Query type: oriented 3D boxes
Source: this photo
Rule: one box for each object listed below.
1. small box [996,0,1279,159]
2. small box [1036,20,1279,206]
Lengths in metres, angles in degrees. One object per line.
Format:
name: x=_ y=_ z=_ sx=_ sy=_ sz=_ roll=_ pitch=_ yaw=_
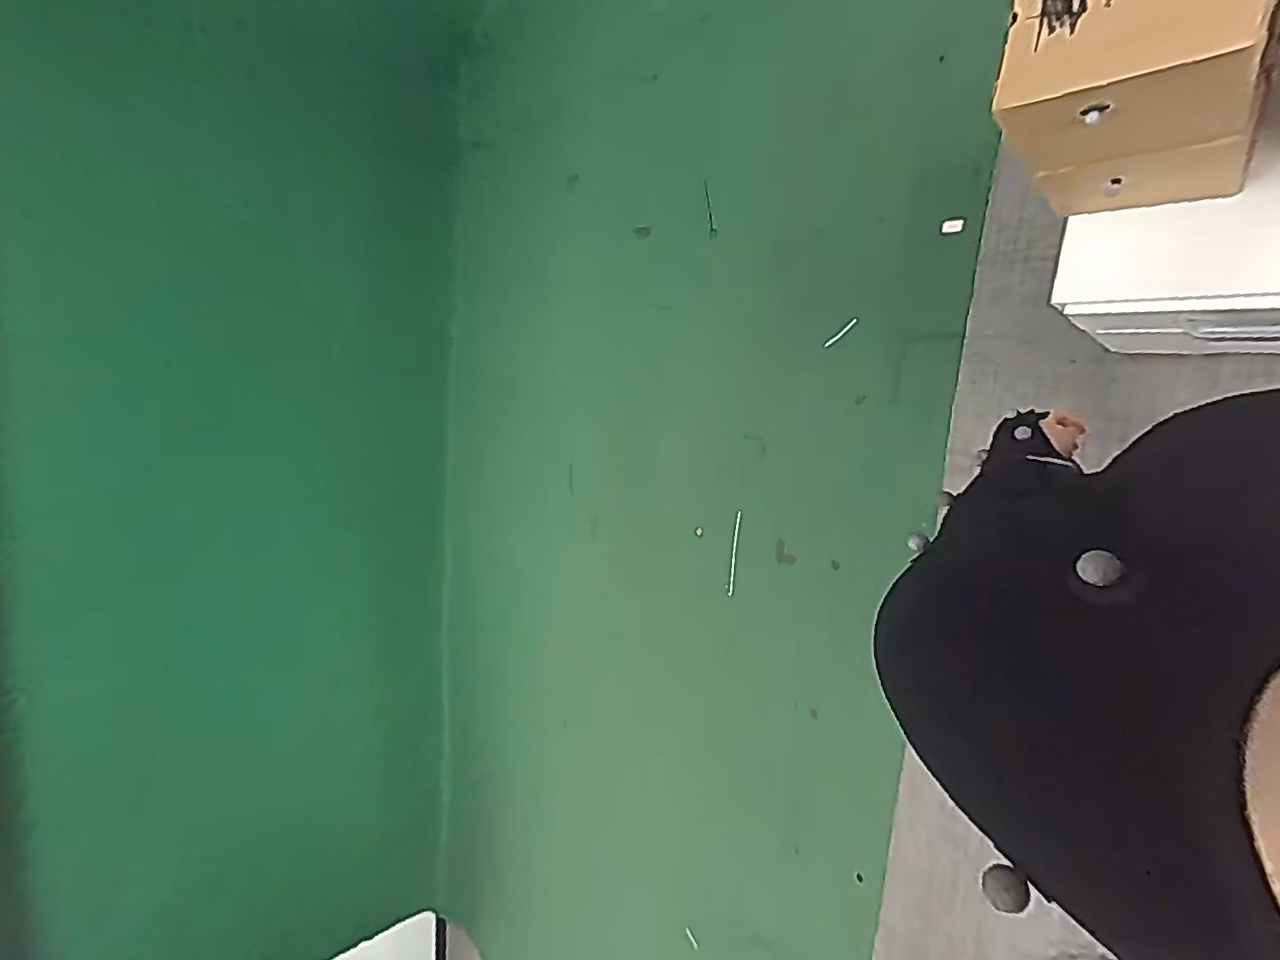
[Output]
small box: x=0.470 y=-0.429 z=0.505 sx=0.179 sy=0.176 sz=0.168 roll=15 pitch=104 yaw=45
small box: x=0.592 y=-0.433 z=0.618 sx=0.179 sy=0.176 sz=0.168 roll=16 pitch=105 yaw=45
